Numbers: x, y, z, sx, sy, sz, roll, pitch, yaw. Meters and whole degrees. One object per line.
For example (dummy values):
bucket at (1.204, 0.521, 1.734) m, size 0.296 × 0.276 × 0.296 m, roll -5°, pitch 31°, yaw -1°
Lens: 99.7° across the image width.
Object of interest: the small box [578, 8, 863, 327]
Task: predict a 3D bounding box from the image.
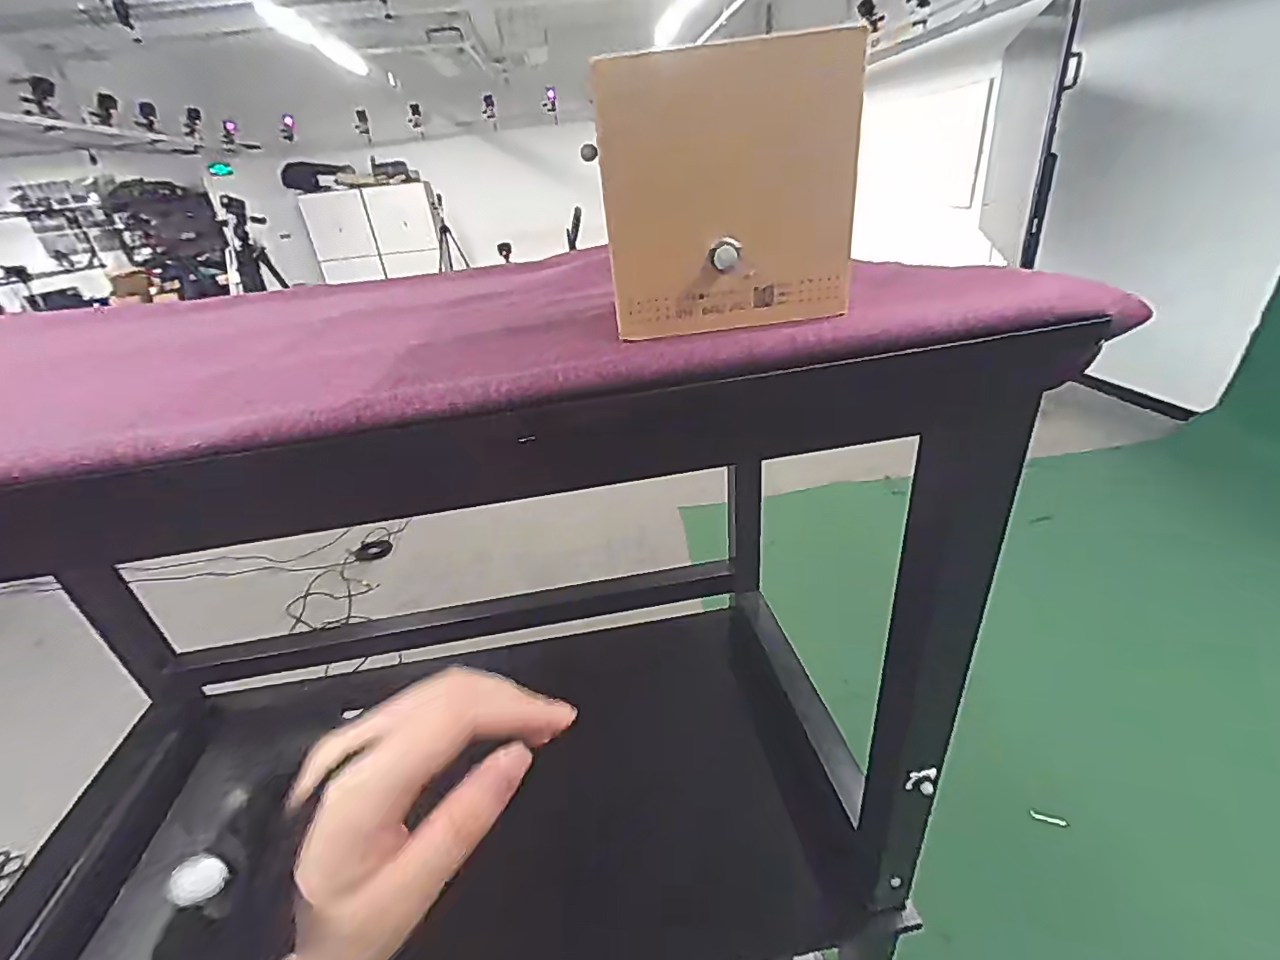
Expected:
small box at (0.051, -0.226, 0.417) m, size 0.168 × 0.176 × 0.179 m, roll -7°, pitch 30°, yaw 1°
